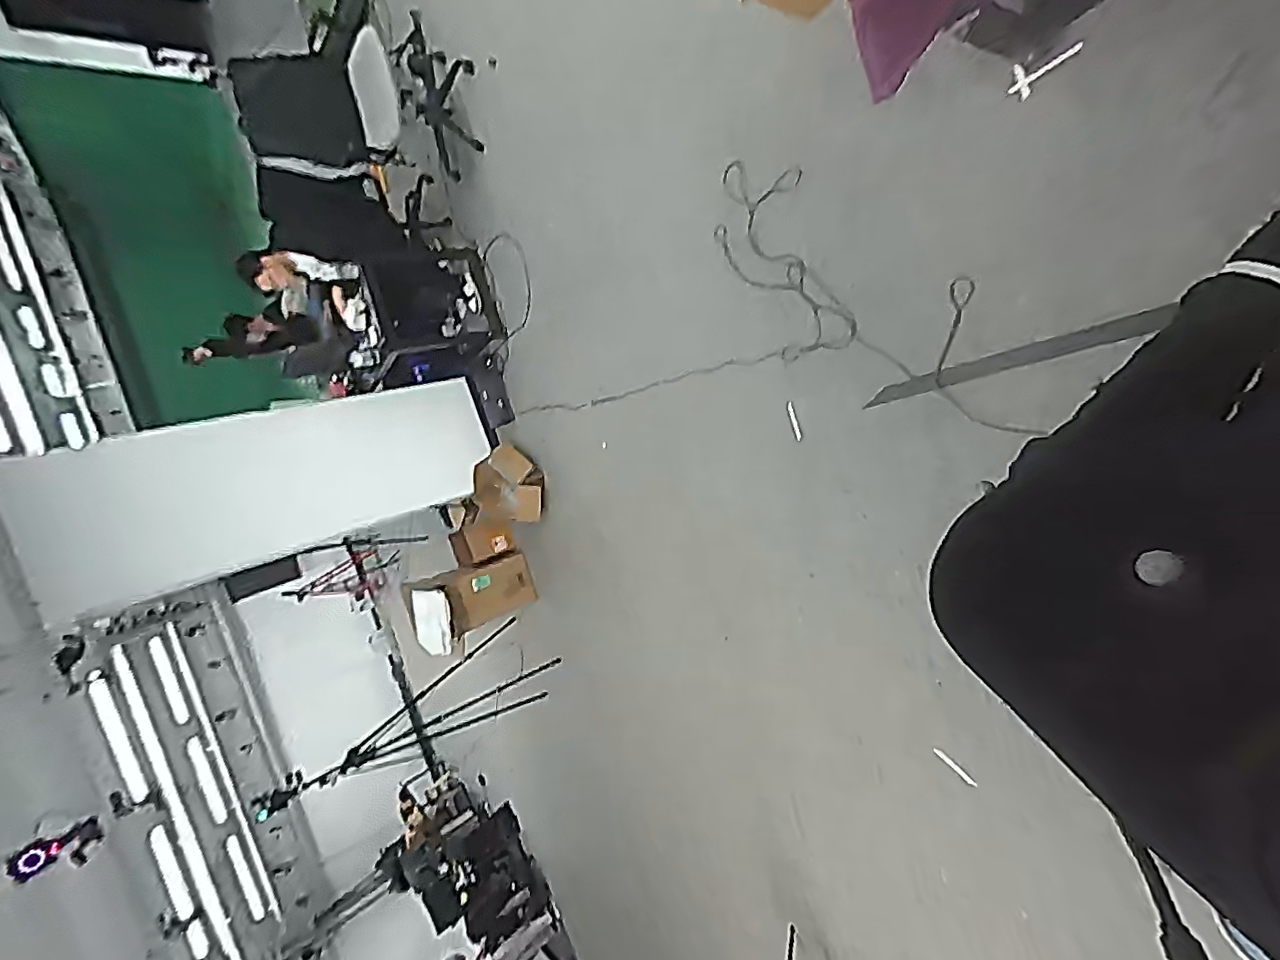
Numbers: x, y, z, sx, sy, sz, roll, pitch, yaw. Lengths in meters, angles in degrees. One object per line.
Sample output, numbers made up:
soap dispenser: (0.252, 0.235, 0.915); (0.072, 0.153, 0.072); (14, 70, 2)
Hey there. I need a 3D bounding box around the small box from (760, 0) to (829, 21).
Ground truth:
small box: (0.222, -0.783, 0.734); (0.179, 0.176, 0.168); (-17, 93, 53)
